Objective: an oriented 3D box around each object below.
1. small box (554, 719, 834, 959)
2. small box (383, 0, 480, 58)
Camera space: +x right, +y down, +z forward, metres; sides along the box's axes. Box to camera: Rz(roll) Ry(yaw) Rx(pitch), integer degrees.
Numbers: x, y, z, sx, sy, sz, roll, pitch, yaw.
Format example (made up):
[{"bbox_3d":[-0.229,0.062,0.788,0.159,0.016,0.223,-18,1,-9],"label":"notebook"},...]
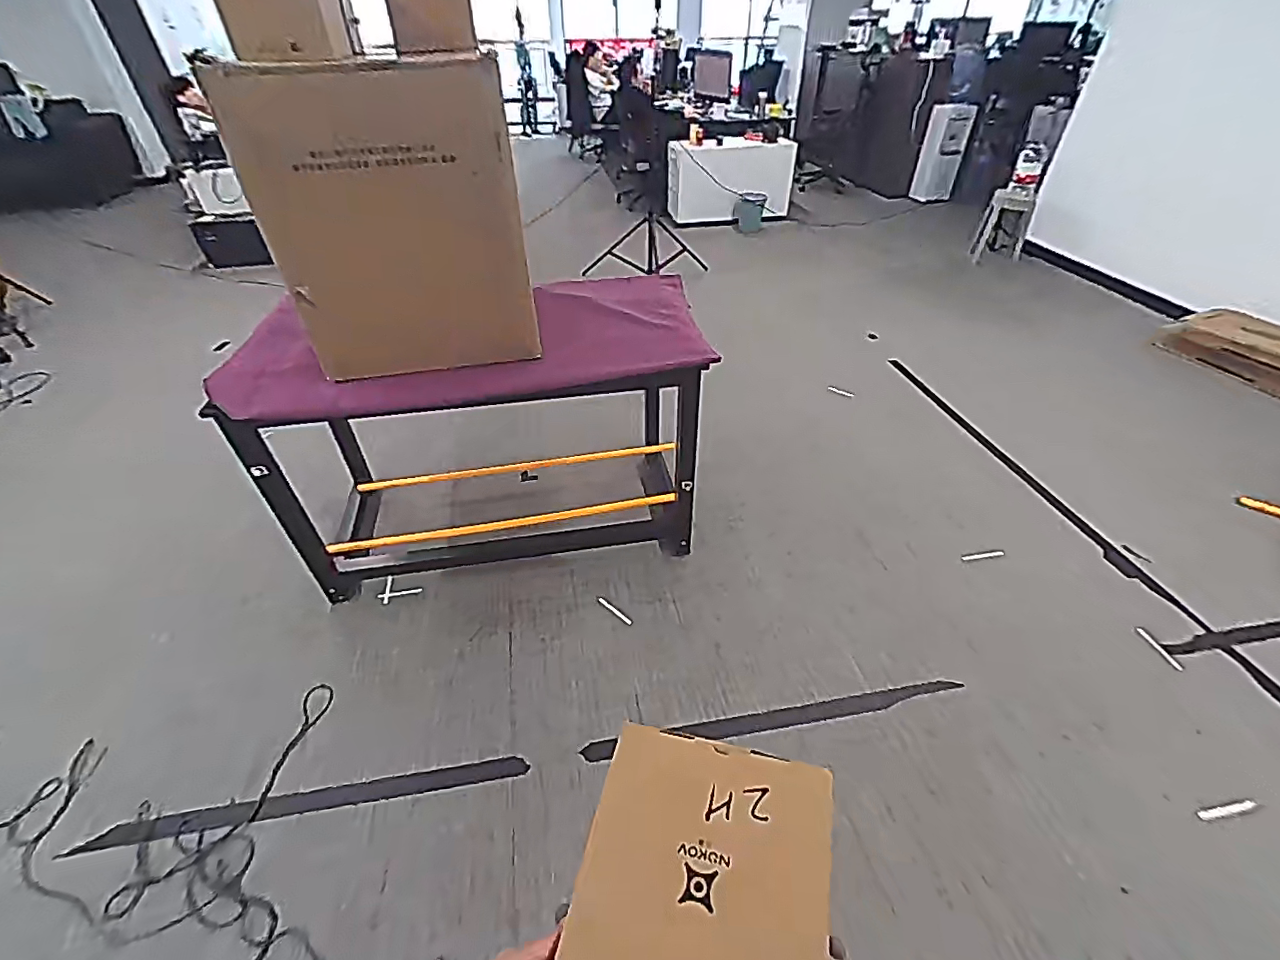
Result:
[{"bbox_3d":[0.051,0.321,0.415,0.168,0.176,0.179,6,43,15],"label":"small box"},{"bbox_3d":[-0.444,-1.016,1.153,0.179,0.176,0.168,-10,41,-8],"label":"small box"}]
